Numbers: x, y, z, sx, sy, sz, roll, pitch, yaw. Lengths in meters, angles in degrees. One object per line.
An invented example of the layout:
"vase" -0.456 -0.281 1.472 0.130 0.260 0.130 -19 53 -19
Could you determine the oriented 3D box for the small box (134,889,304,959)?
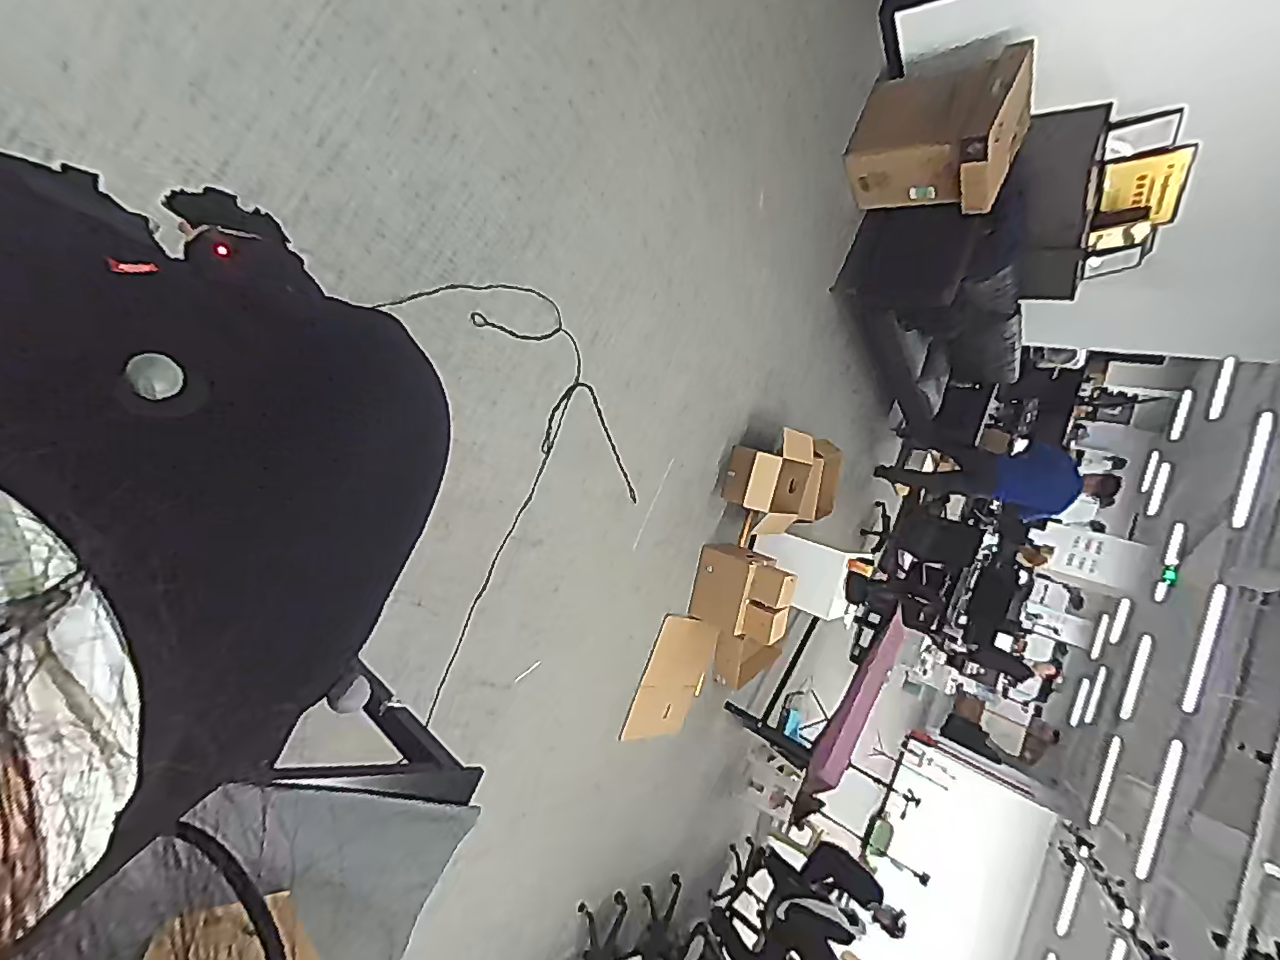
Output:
"small box" -0.585 0.711 0.729 0.168 0.176 0.179 32 79 -50
